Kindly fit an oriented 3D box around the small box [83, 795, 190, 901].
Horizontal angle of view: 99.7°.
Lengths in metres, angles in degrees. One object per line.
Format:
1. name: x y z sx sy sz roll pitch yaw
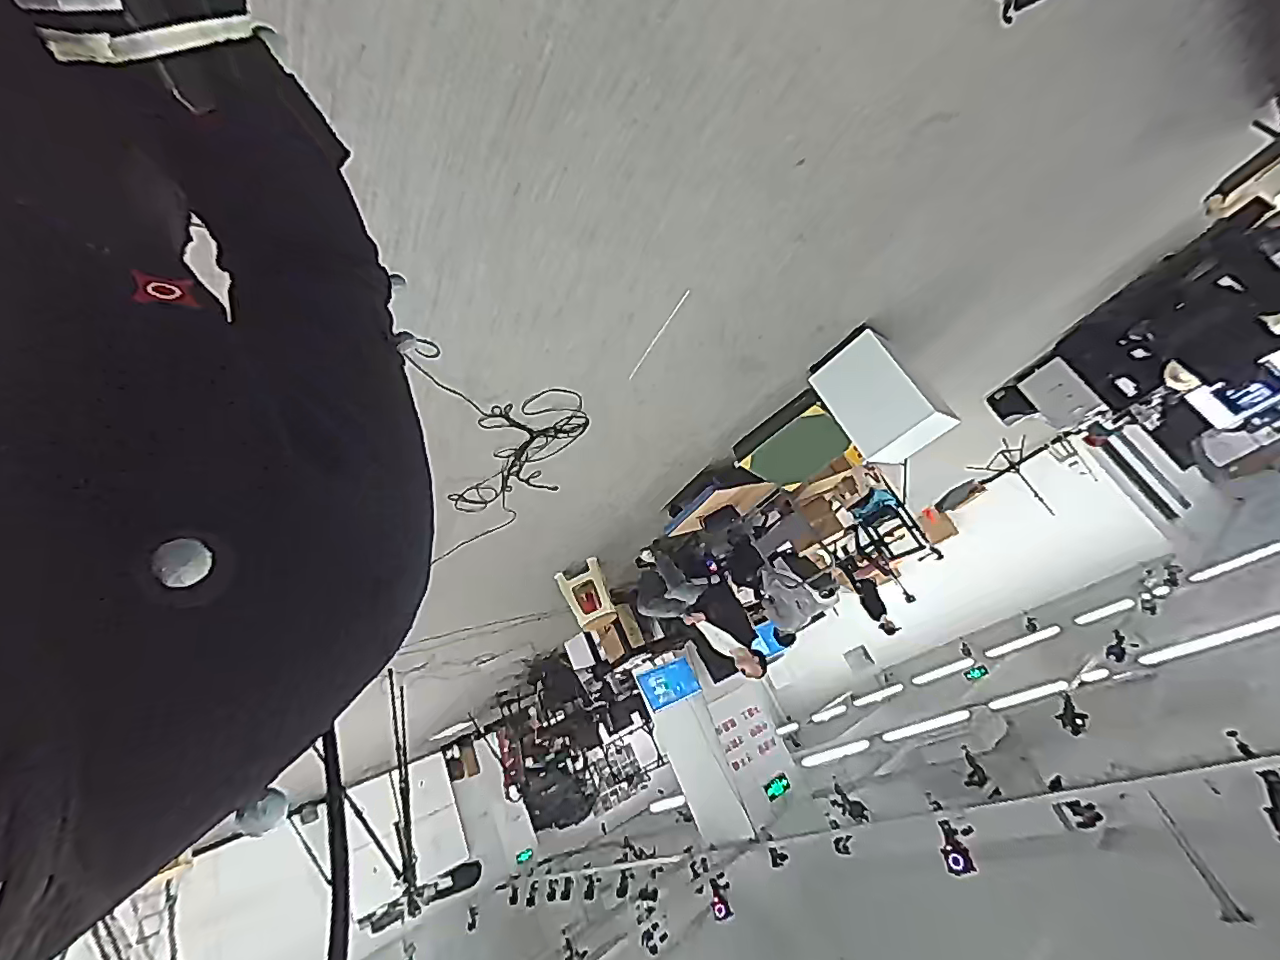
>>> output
1. small box: -1.298 0.946 1.399 0.179 0.176 0.168 -9 151 -34
